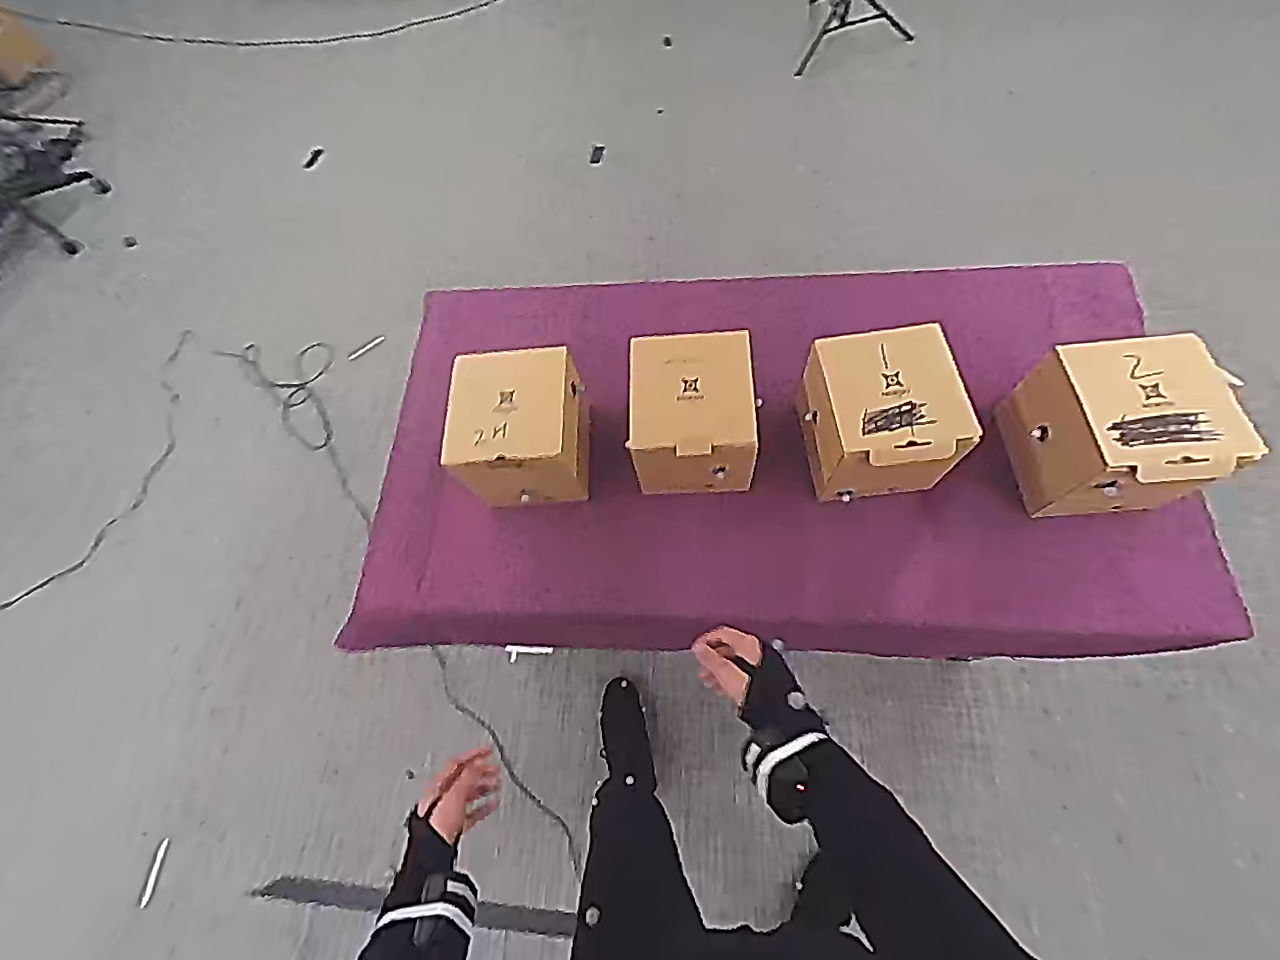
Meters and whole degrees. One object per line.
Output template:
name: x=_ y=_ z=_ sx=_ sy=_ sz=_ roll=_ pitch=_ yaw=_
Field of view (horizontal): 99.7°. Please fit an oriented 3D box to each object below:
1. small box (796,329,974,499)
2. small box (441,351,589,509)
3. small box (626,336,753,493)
small box: x=0.325 y=-0.081 z=0.759 sx=0.168 sy=0.176 sz=0.179 roll=-7 pitch=66 yaw=4
small box: x=-0.175 y=-0.068 z=0.812 sx=0.168 sy=0.176 sz=0.179 roll=-4 pitch=67 yaw=6
small box: x=0.074 y=-0.085 z=0.792 sx=0.168 sy=0.176 sz=0.179 roll=-2 pitch=66 yaw=6
